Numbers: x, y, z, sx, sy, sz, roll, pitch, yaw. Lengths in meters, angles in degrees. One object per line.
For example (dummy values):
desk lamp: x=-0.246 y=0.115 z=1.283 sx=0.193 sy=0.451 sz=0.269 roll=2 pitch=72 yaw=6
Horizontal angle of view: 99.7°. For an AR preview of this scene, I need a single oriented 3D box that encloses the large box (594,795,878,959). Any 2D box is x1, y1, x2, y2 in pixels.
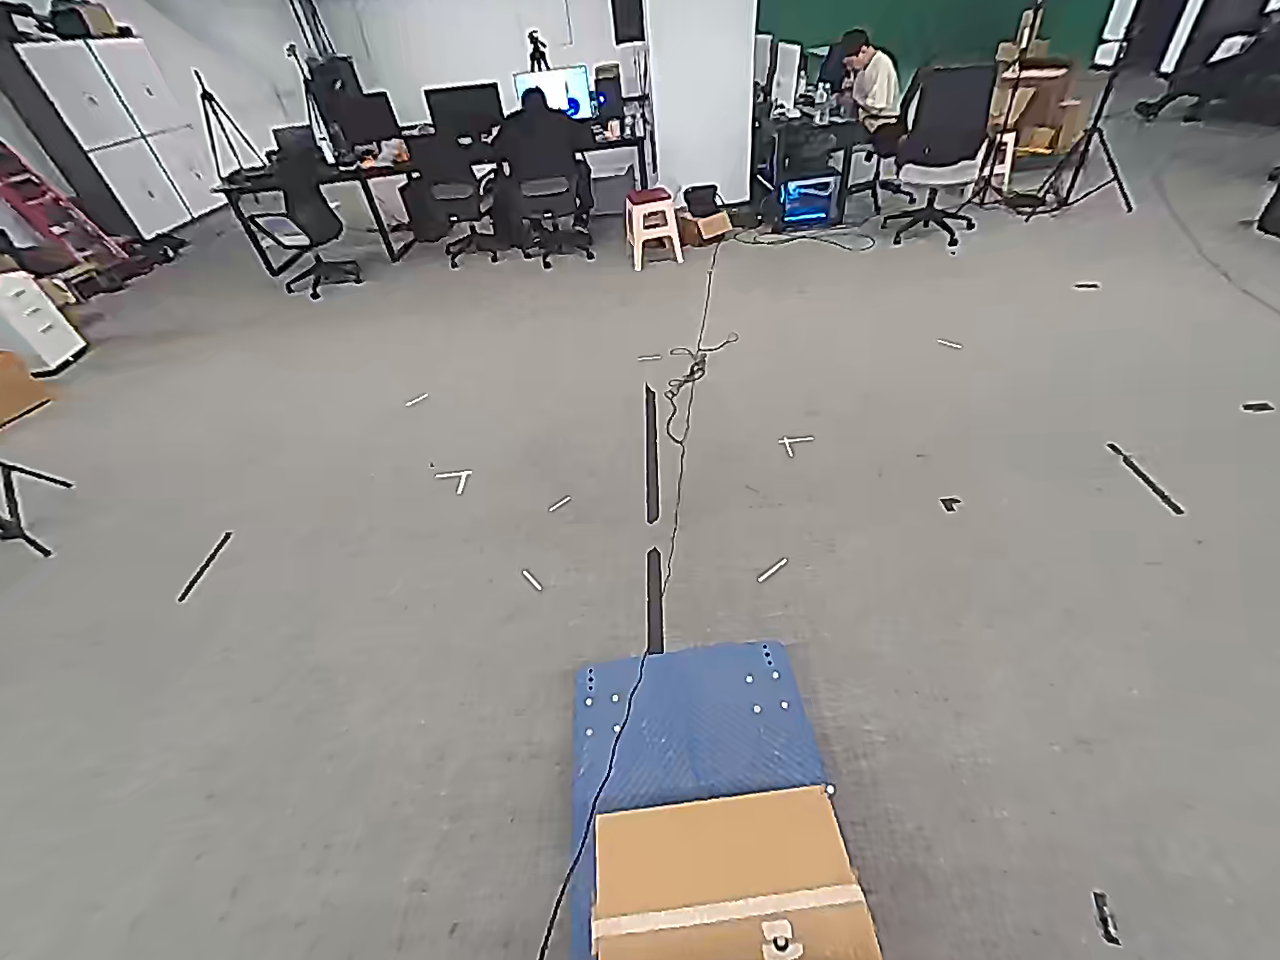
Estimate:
large box: x=0.145 y=0.776 z=0.898 sx=0.408 sy=0.320 sz=0.320 roll=-8 pitch=40 yaw=0
